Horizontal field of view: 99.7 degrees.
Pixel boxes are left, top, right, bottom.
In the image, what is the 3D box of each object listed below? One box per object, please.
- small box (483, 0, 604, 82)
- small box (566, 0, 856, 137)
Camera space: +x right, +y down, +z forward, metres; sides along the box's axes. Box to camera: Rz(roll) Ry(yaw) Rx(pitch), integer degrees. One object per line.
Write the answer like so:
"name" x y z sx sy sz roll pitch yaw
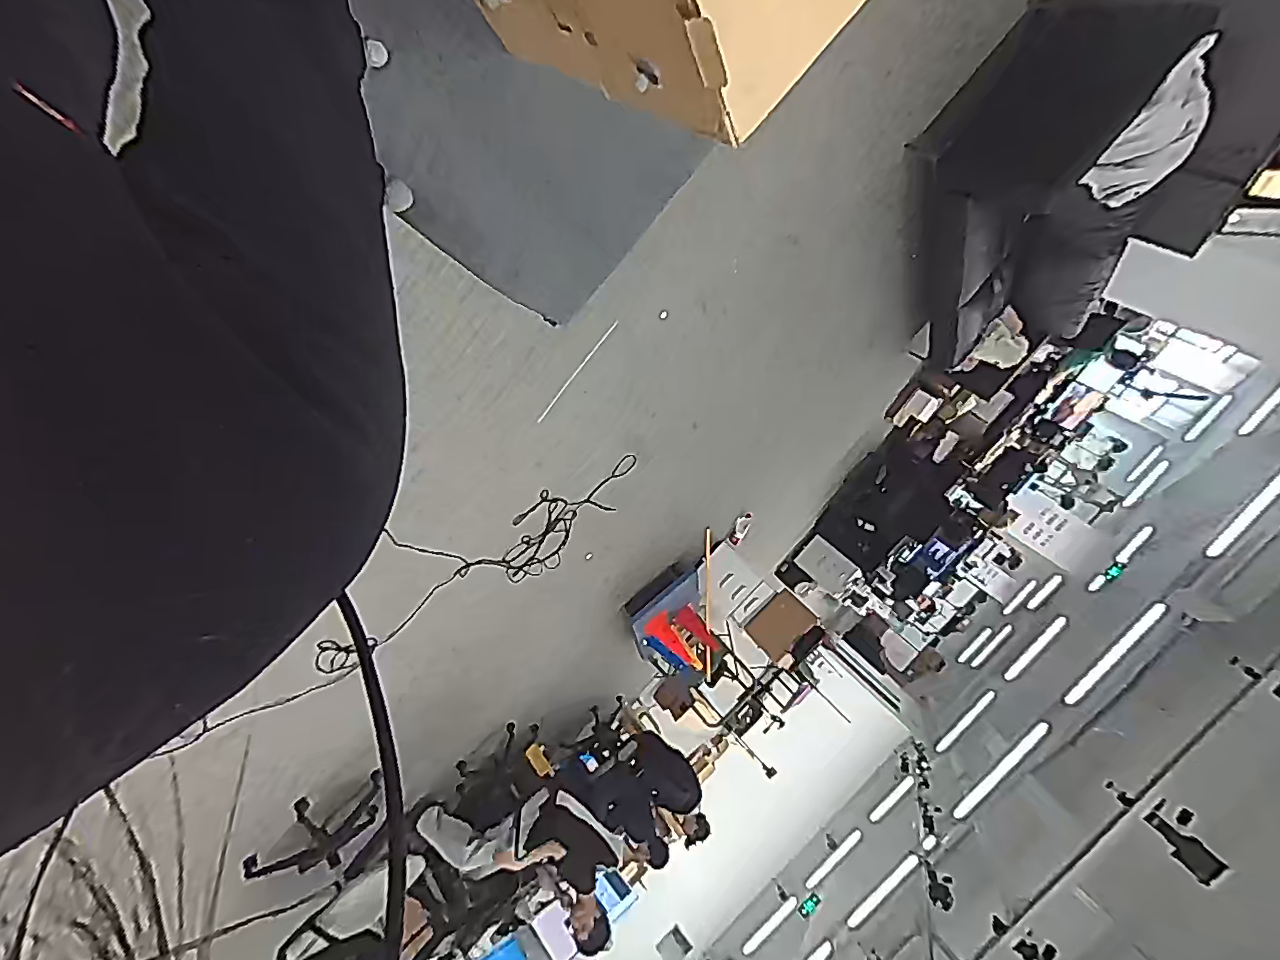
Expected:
"small box" -0.065 -0.487 0.445 0.179 0.176 0.168 -50 151 6
"small box" 0.041 -0.389 0.370 0.179 0.176 0.168 -50 152 3
